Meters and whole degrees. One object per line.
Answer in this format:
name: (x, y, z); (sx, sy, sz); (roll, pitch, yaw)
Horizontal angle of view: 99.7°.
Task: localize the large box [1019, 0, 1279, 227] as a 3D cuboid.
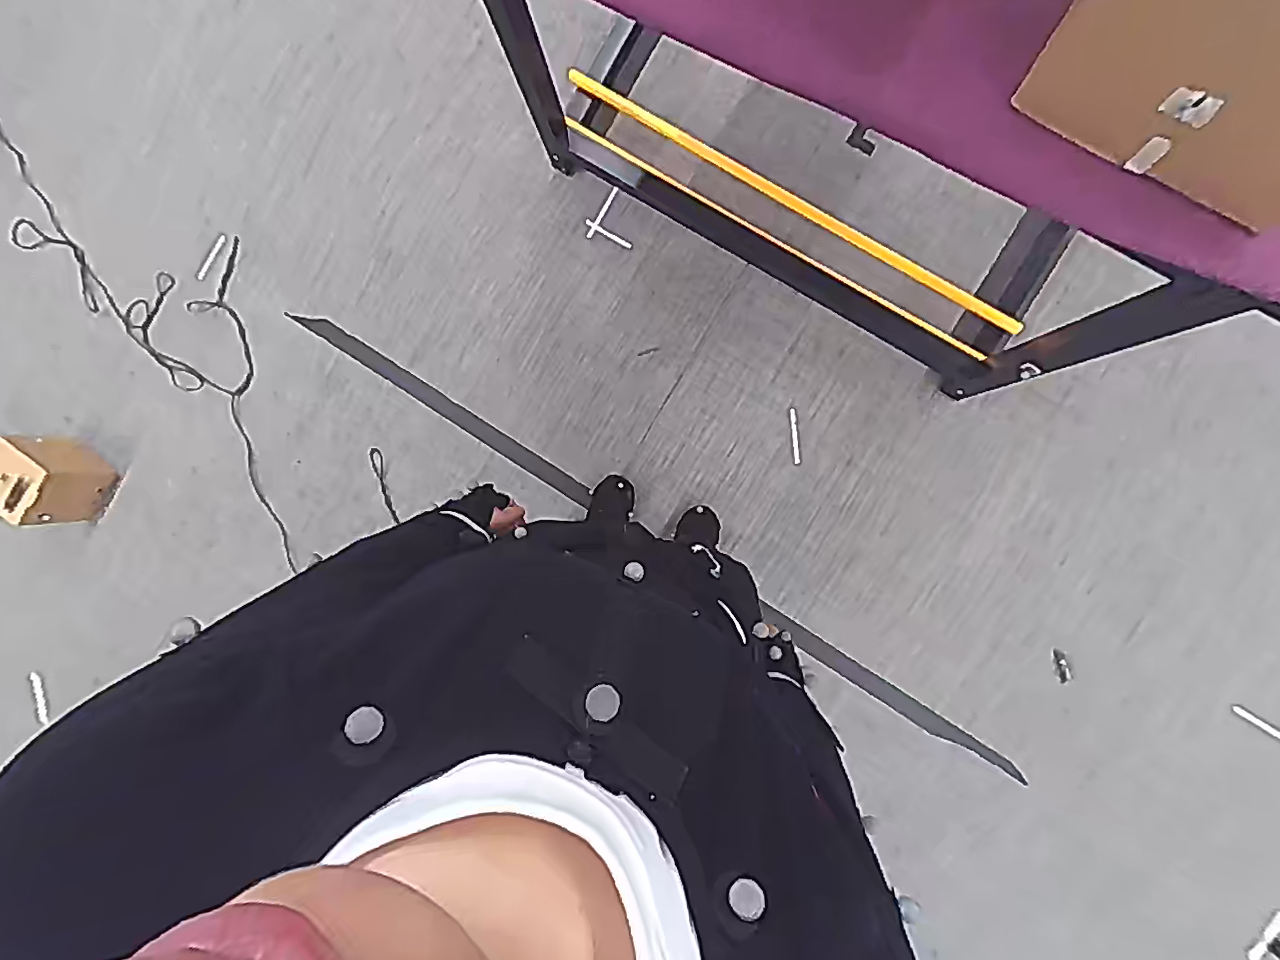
large box: (0.634, -0.515, 0.446); (0.320, 0.320, 0.408); (31, 91, 3)
